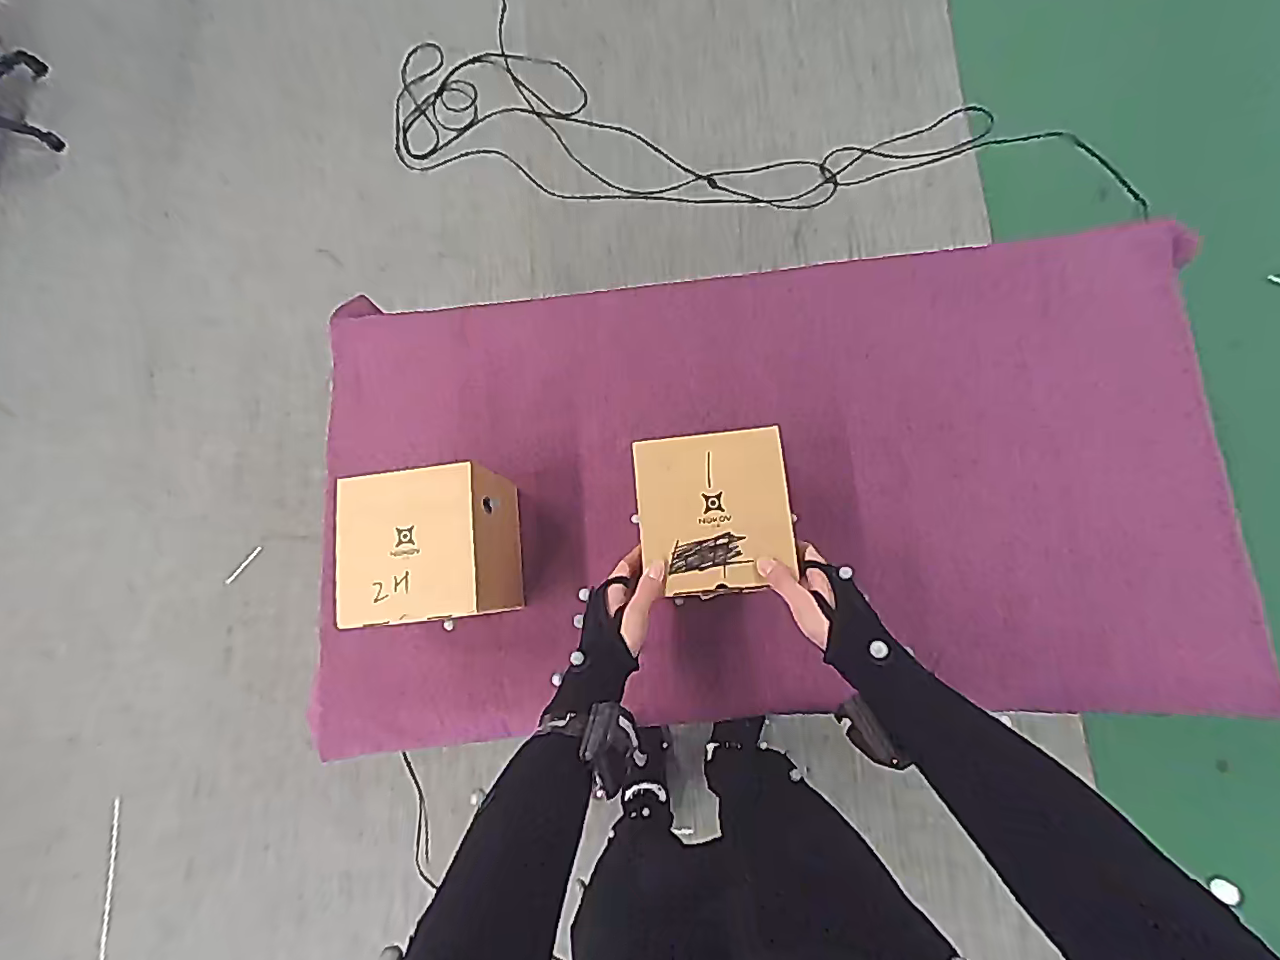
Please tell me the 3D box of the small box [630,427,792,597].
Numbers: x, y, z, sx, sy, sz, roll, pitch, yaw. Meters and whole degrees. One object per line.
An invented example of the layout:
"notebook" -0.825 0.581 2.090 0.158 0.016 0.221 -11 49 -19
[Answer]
"small box" 0.084 0.048 0.665 0.168 0.176 0.179 -6 78 5

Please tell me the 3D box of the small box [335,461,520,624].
"small box" -0.260 0.085 0.695 0.168 0.176 0.179 -7 79 5
